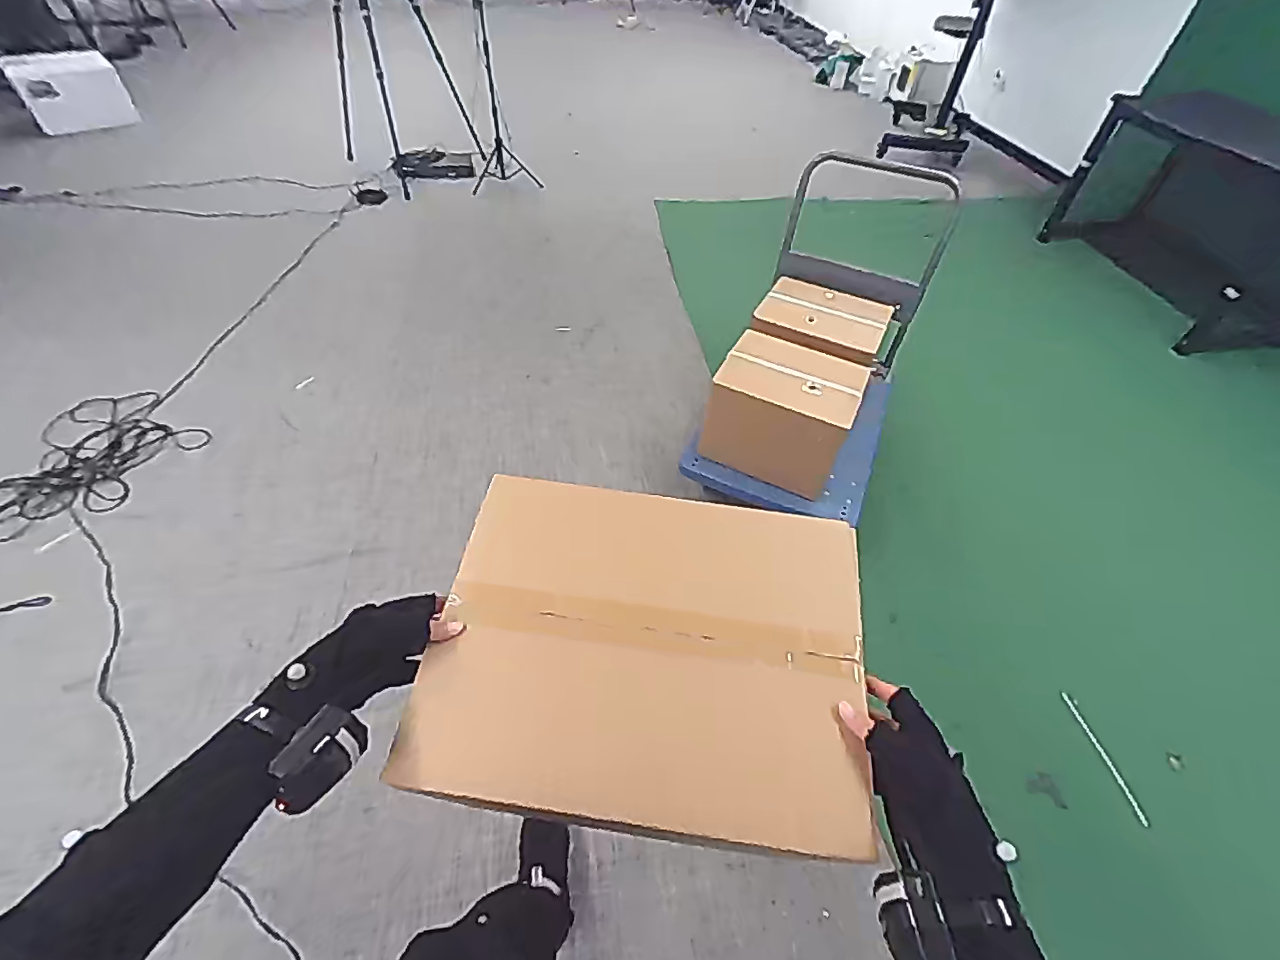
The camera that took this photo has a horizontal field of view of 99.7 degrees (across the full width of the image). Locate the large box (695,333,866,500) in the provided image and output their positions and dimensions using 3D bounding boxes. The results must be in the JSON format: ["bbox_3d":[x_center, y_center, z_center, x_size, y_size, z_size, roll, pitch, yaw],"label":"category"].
[{"bbox_3d":[0.429,-0.202,1.698,0.408,0.320,0.320,24,50,15],"label":"large box"}]
